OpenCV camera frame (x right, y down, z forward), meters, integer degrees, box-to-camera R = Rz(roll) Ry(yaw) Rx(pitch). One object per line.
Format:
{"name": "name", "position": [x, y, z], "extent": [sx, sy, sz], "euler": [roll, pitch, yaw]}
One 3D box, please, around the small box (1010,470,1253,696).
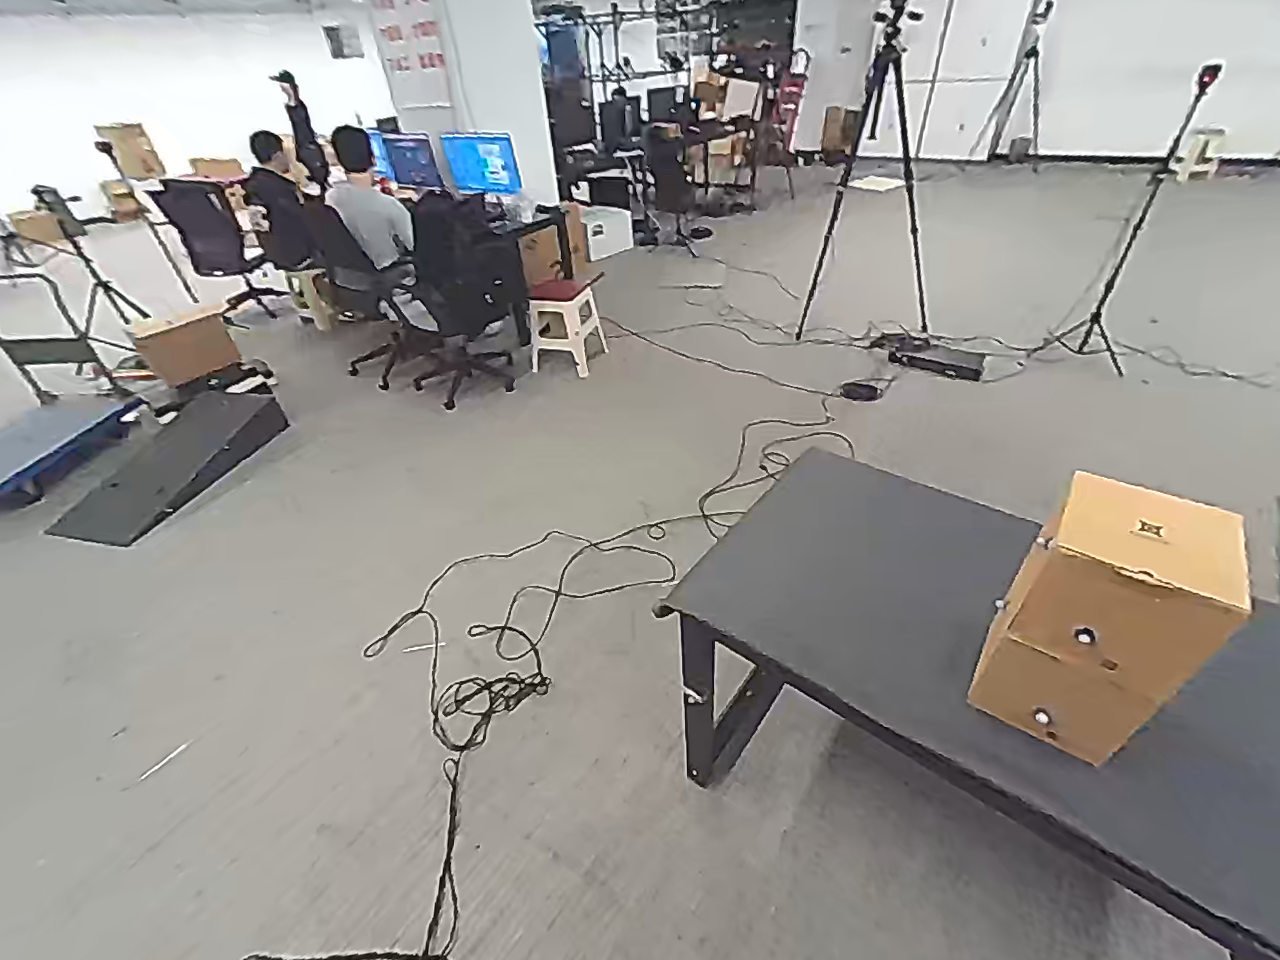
{"name": "small box", "position": [0.589, 0.121, 0.667], "extent": [0.168, 0.176, 0.179], "euler": [23, 45, 31]}

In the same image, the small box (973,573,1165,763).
{"name": "small box", "position": [0.599, 0.250, 0.765], "extent": [0.168, 0.176, 0.179], "euler": [22, 45, 32]}
